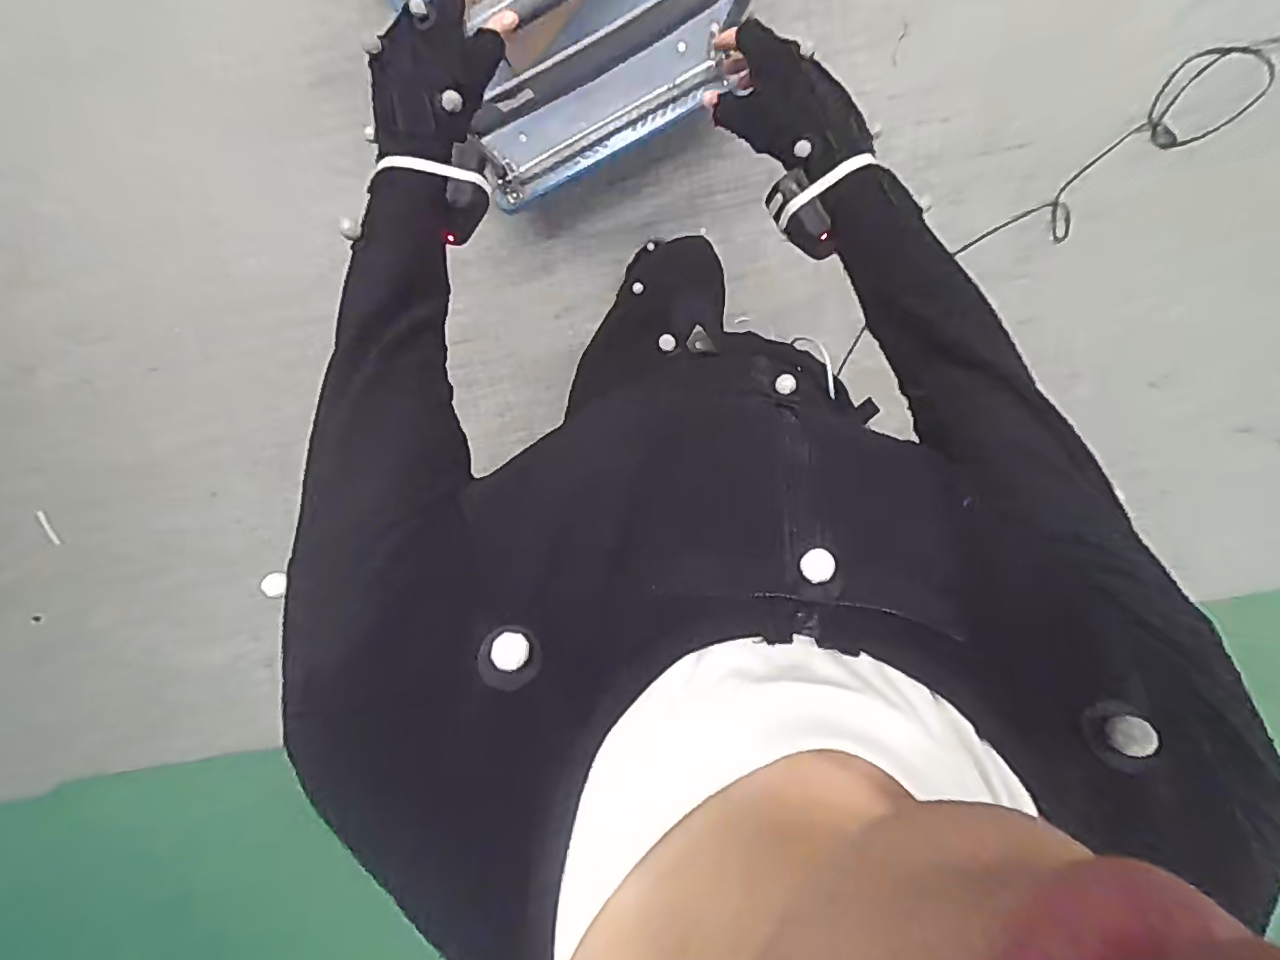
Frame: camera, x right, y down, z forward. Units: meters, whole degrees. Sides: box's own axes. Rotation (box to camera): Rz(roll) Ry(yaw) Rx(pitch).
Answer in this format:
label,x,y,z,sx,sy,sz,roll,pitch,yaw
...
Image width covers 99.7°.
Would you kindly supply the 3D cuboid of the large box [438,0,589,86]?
label,x,y,z,sx,sy,sz,roll,pitch,yaw
large box,-0.204,-0.965,0.856,0.320,0.320,0.408,40,105,-11
